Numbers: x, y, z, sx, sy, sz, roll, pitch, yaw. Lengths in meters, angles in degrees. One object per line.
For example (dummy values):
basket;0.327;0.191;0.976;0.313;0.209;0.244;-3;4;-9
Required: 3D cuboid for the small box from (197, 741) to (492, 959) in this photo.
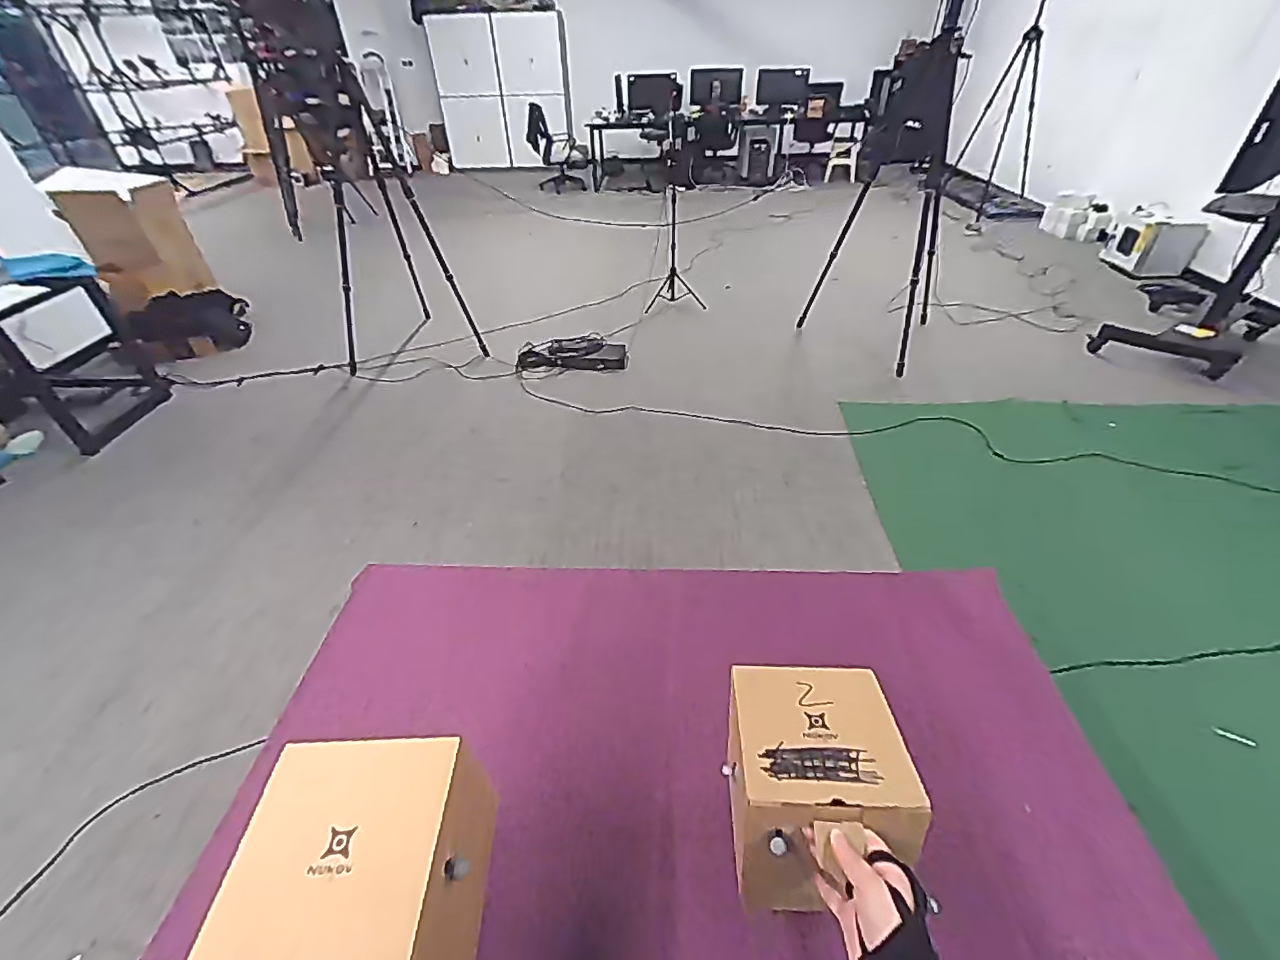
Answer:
small box;-0.245;0.369;0.504;0.168;0.176;0.179;-3;42;1
